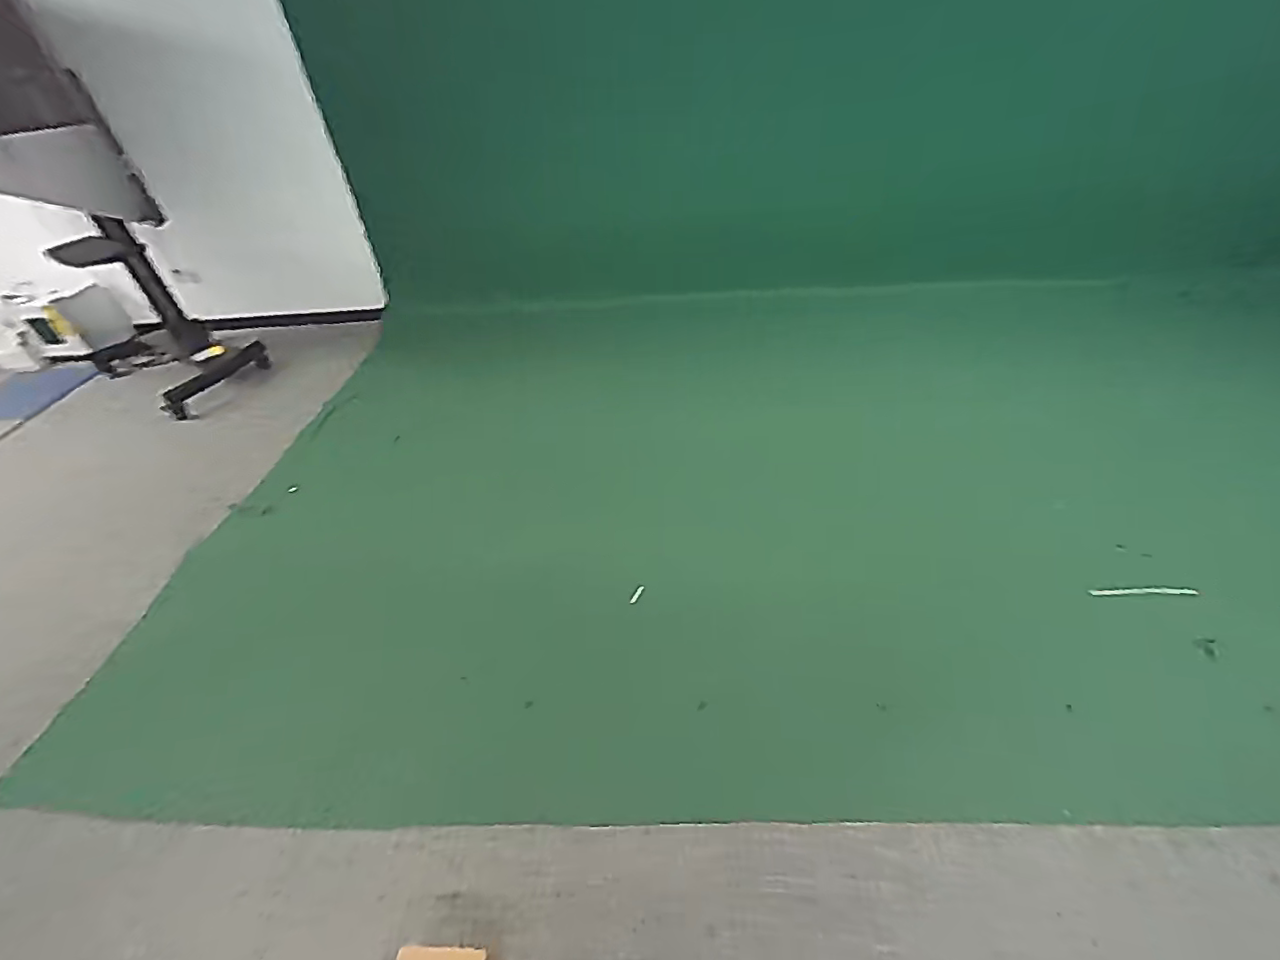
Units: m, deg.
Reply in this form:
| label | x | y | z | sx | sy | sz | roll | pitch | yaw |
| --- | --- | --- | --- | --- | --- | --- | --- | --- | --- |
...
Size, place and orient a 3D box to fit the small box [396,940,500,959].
| label | x | y | z | sx | sy | sz | roll | pitch | yaw |
| --- | --- | --- | --- | --- | --- | --- | --- | --- | --- |
| small box | -0.377 | 1.007 | 1.034 | 0.179 | 0.176 | 0.168 | -1 | 41 | 5 |
